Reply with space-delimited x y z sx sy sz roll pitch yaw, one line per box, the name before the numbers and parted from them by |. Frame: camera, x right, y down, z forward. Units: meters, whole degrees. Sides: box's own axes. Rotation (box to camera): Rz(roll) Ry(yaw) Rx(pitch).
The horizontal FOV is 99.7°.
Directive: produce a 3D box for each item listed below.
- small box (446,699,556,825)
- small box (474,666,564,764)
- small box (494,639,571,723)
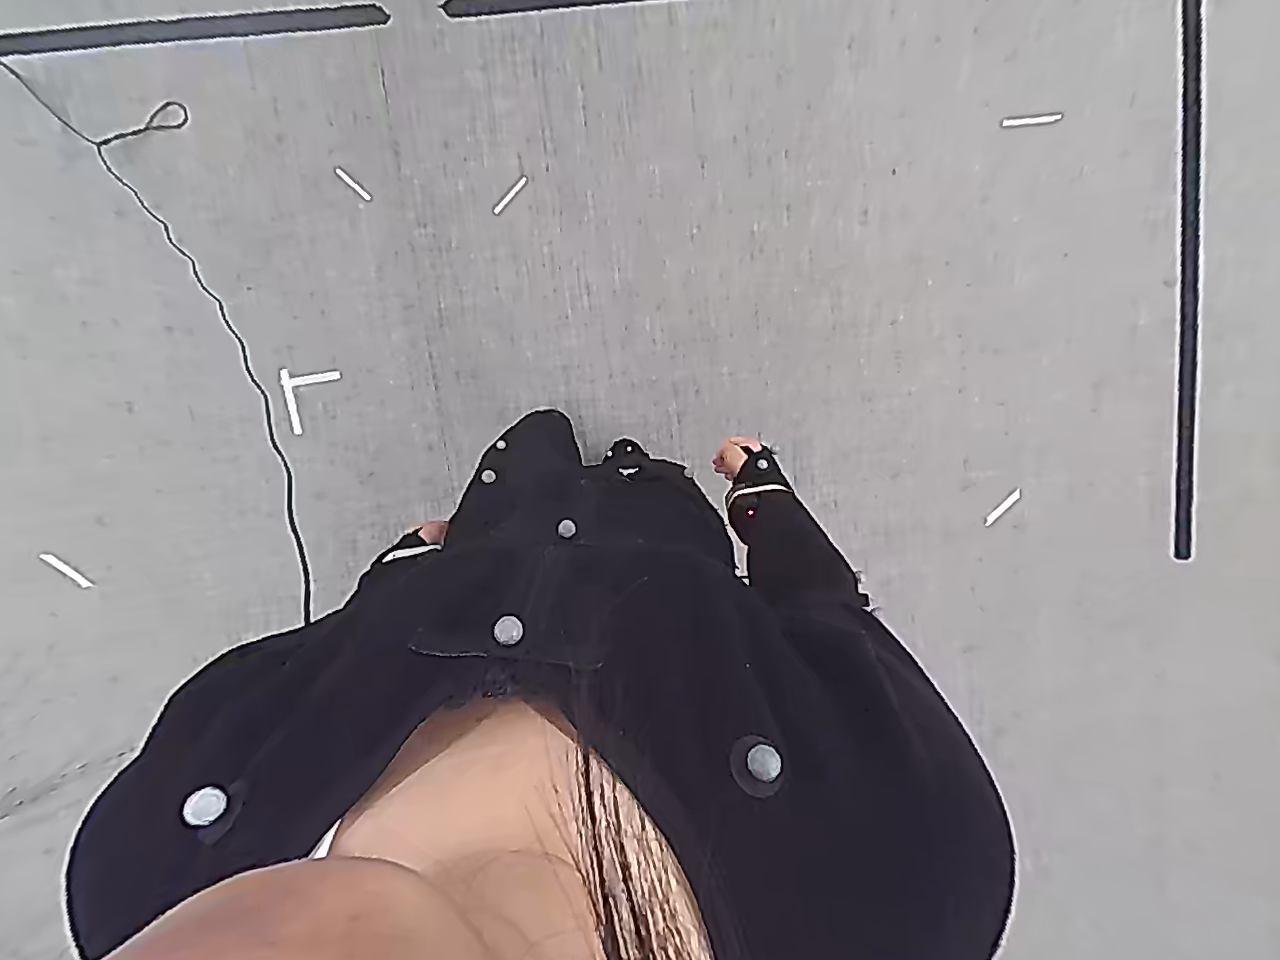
small box | -0.289 0.594 1.156 0.179 0.176 0.168 -9 97 1
small box | -0.287 0.571 1.316 0.168 0.176 0.179 -9 98 1
small box | -0.288 0.551 1.477 0.168 0.176 0.179 -9 98 0
